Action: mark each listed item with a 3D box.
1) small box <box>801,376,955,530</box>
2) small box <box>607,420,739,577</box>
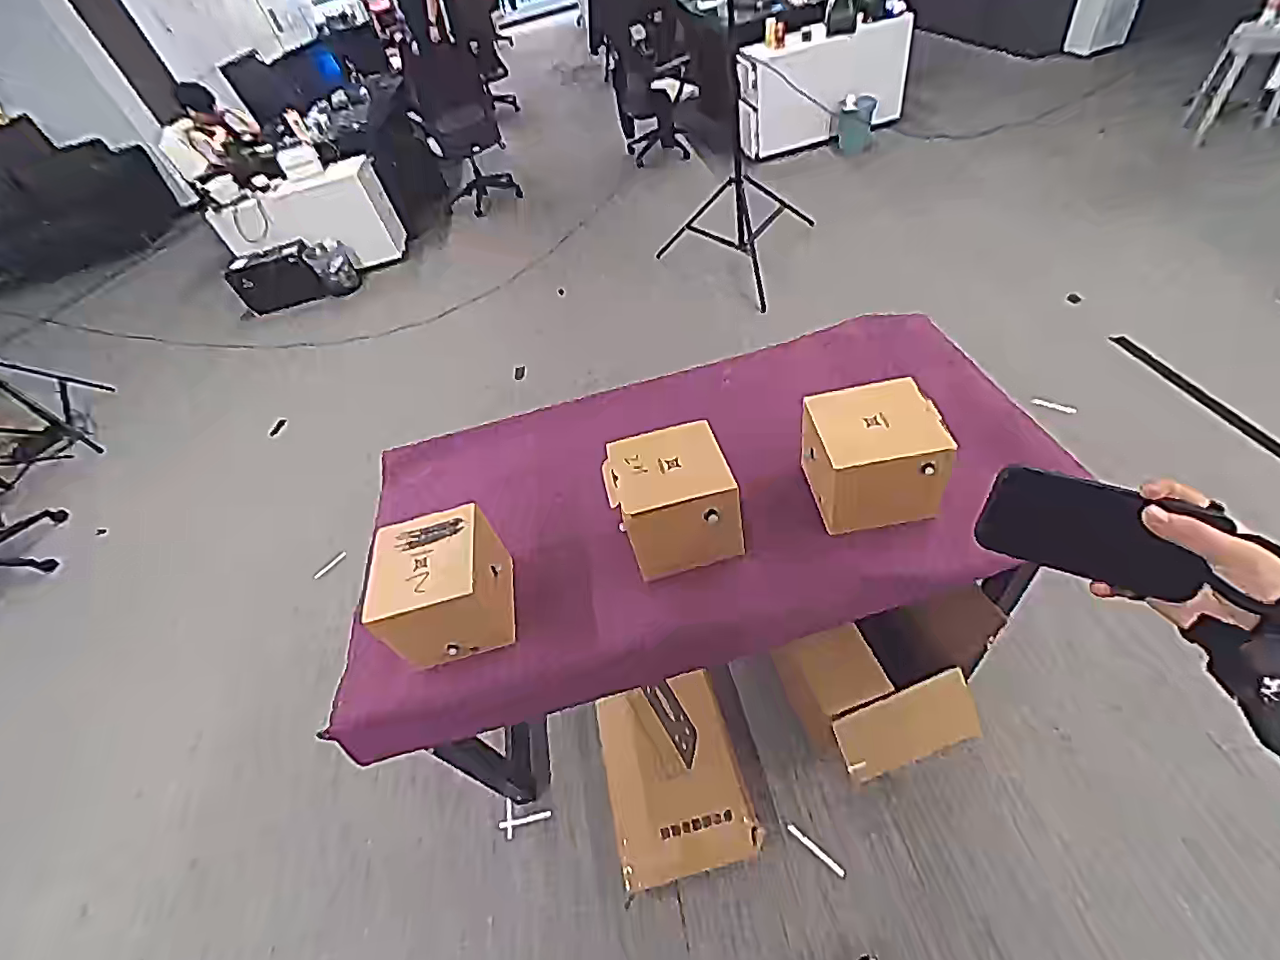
[{"bbox_3d":[0.368,-0.039,0.874,0.179,0.176,0.168,-11,47,5],"label":"small box"},{"bbox_3d":[0.058,0.033,0.890,0.179,0.176,0.168,-16,45,0],"label":"small box"}]
